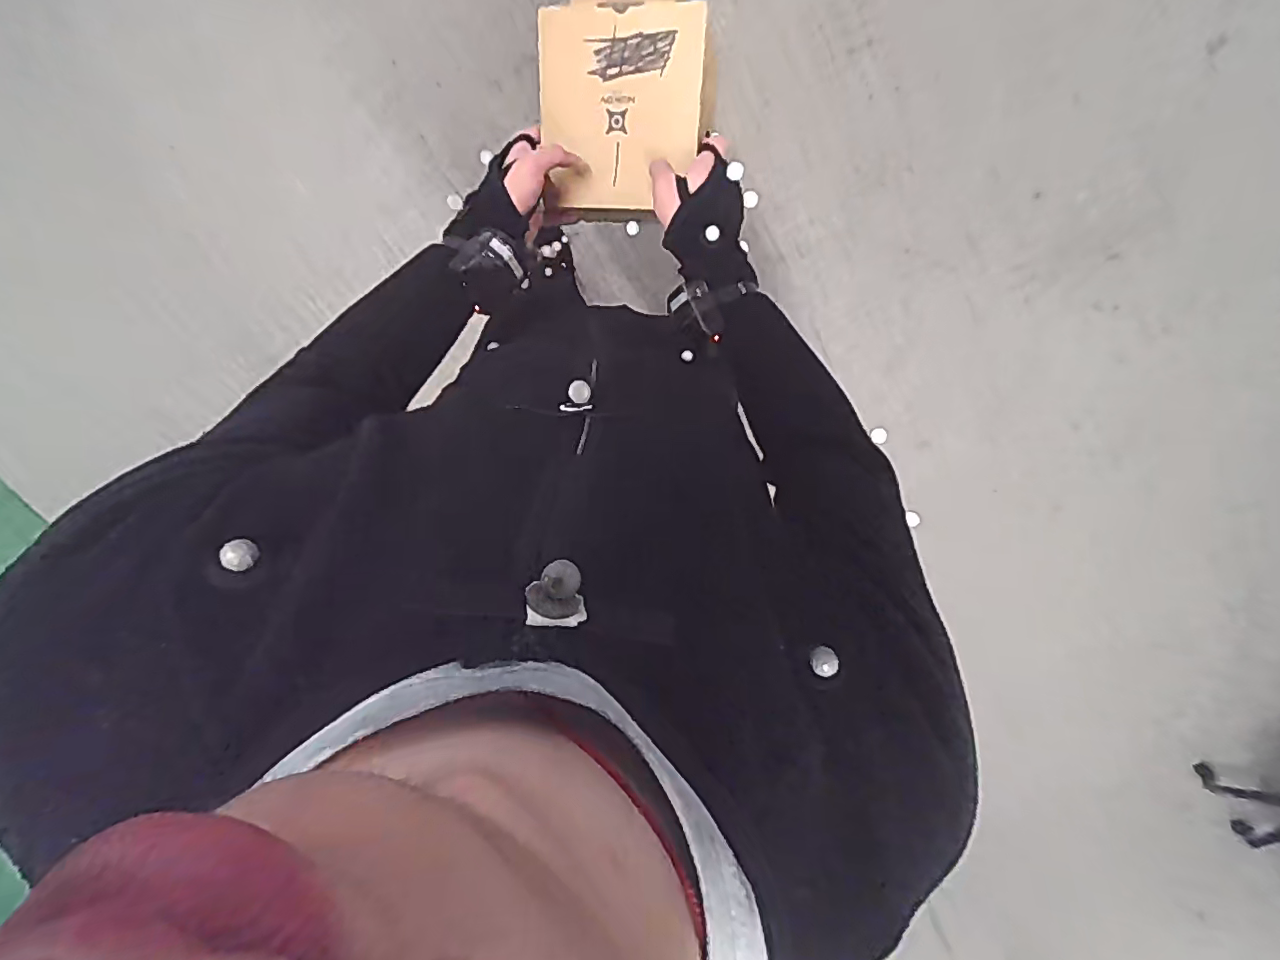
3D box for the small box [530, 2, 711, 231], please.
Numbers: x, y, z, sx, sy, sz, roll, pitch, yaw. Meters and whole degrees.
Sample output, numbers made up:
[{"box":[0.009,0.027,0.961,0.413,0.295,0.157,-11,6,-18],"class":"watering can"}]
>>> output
[{"box":[-0.013,-0.387,0.608,0.168,0.176,0.179,6,111,12],"class":"small box"}]
